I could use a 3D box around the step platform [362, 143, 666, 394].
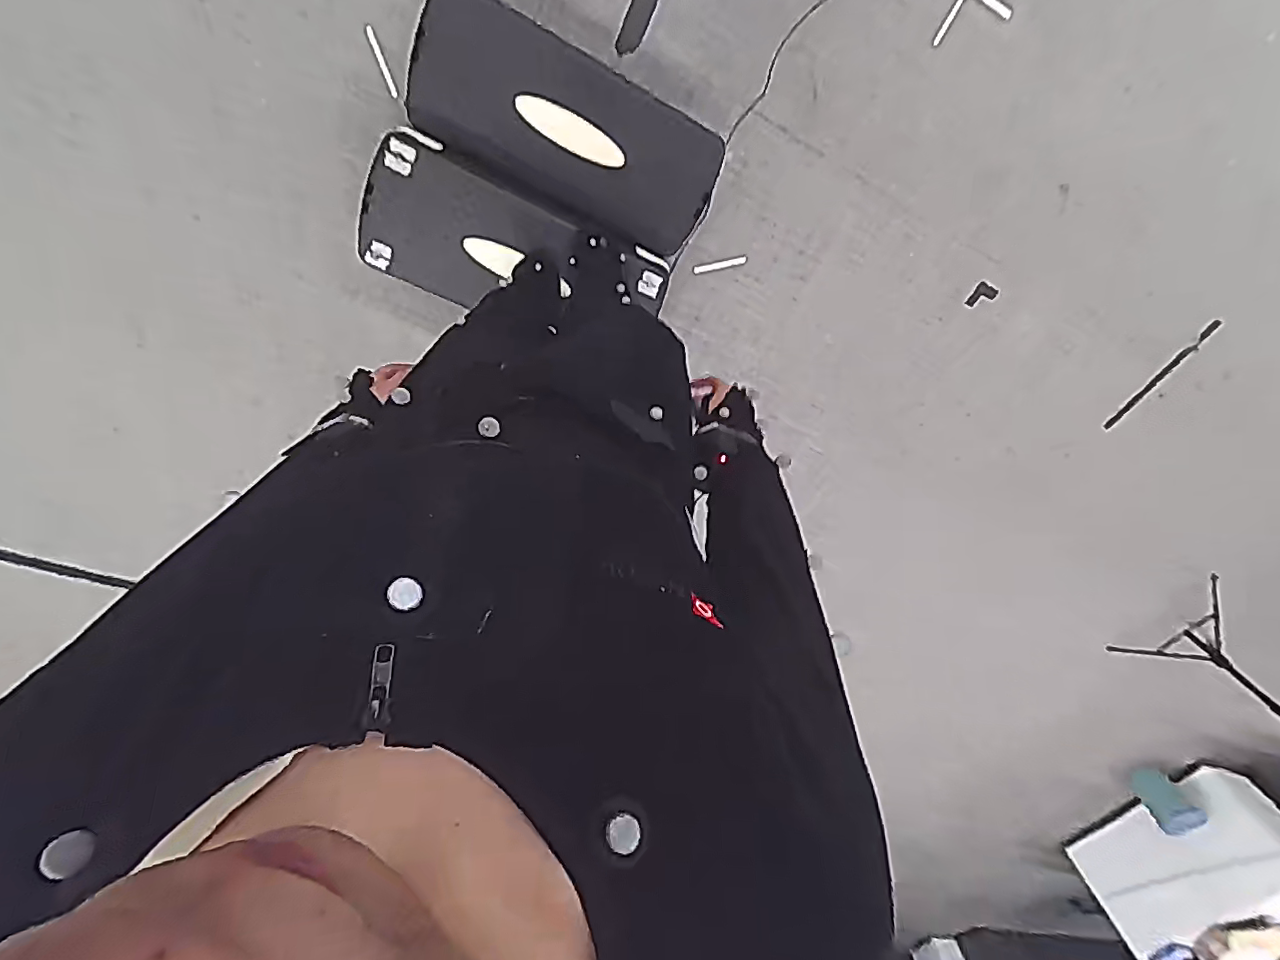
[{"bbox_3d":[-0.277,-0.480,1.293,0.684,0.204,0.286,25,115,-18],"label":"step platform"}]
